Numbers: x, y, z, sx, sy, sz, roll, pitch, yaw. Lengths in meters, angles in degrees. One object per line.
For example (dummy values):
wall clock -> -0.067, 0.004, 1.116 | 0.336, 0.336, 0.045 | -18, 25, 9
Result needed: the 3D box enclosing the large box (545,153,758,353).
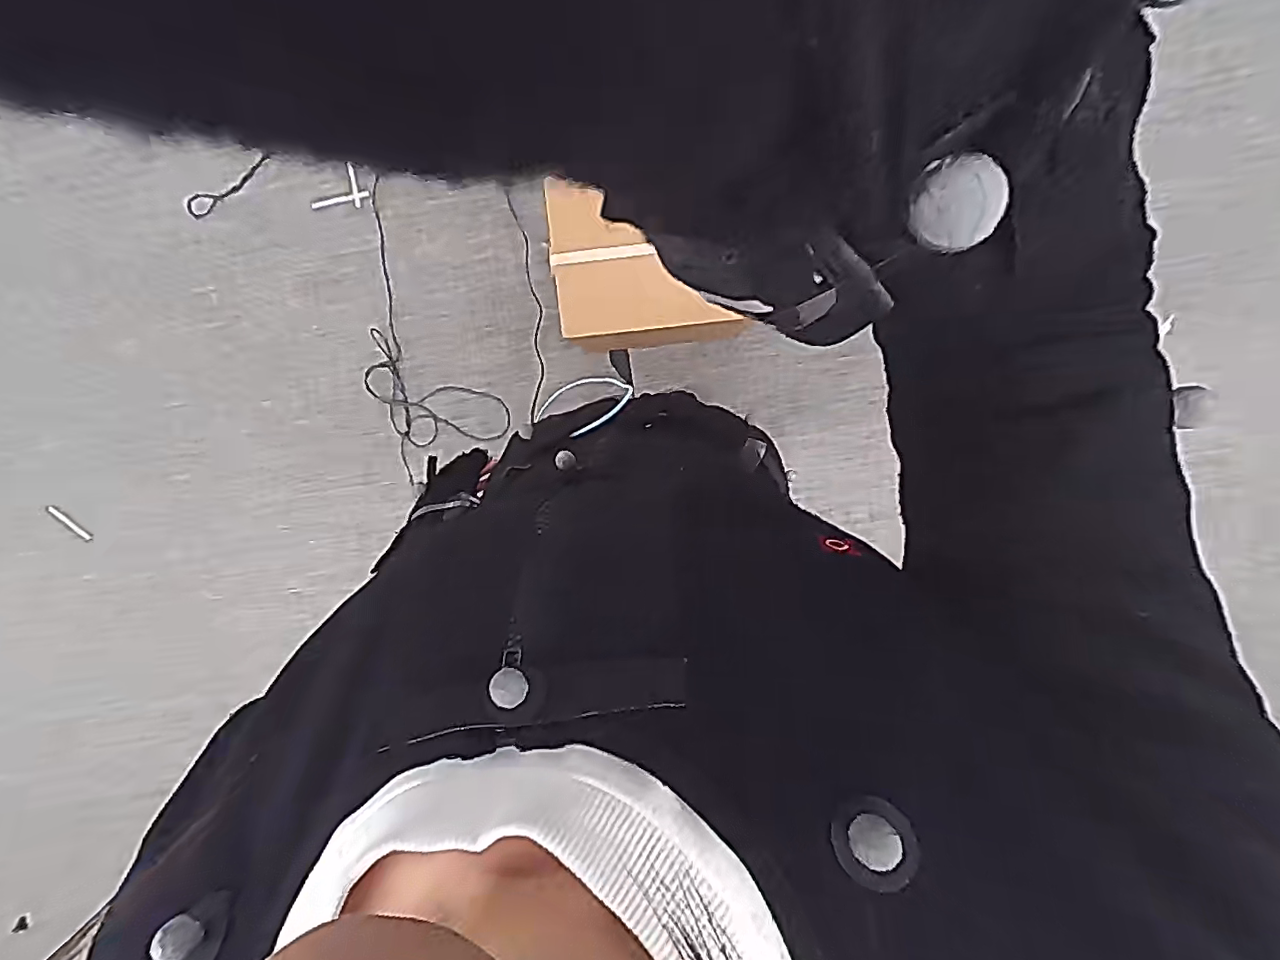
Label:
large box -> 0.026, -0.485, 1.230 | 0.408, 0.320, 0.320 | -6, 98, 2
